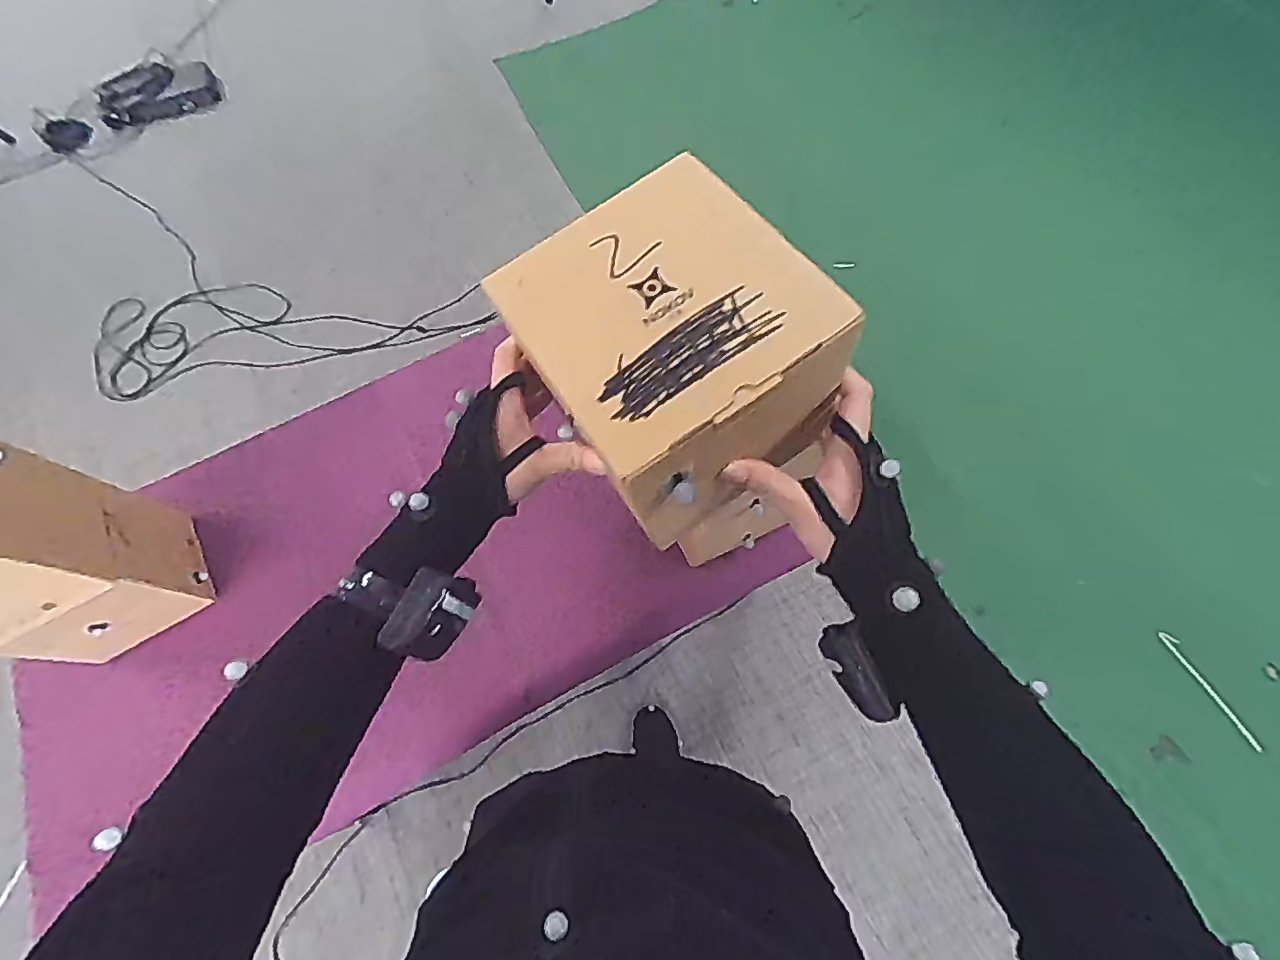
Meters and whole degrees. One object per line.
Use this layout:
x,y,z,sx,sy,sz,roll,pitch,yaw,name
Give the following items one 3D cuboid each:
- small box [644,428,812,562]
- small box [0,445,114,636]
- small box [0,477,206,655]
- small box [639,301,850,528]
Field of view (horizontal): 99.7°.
0.116,-0.001,0.790,0.179,0.176,0.168,-24,68,-8,small box
-0.762,0.069,0.615,0.168,0.176,0.179,-30,70,-10,small box
-0.765,0.129,0.766,0.179,0.176,0.168,-31,70,-10,small box
0.109,-0.068,0.641,0.168,0.176,0.179,-25,69,-6,small box
